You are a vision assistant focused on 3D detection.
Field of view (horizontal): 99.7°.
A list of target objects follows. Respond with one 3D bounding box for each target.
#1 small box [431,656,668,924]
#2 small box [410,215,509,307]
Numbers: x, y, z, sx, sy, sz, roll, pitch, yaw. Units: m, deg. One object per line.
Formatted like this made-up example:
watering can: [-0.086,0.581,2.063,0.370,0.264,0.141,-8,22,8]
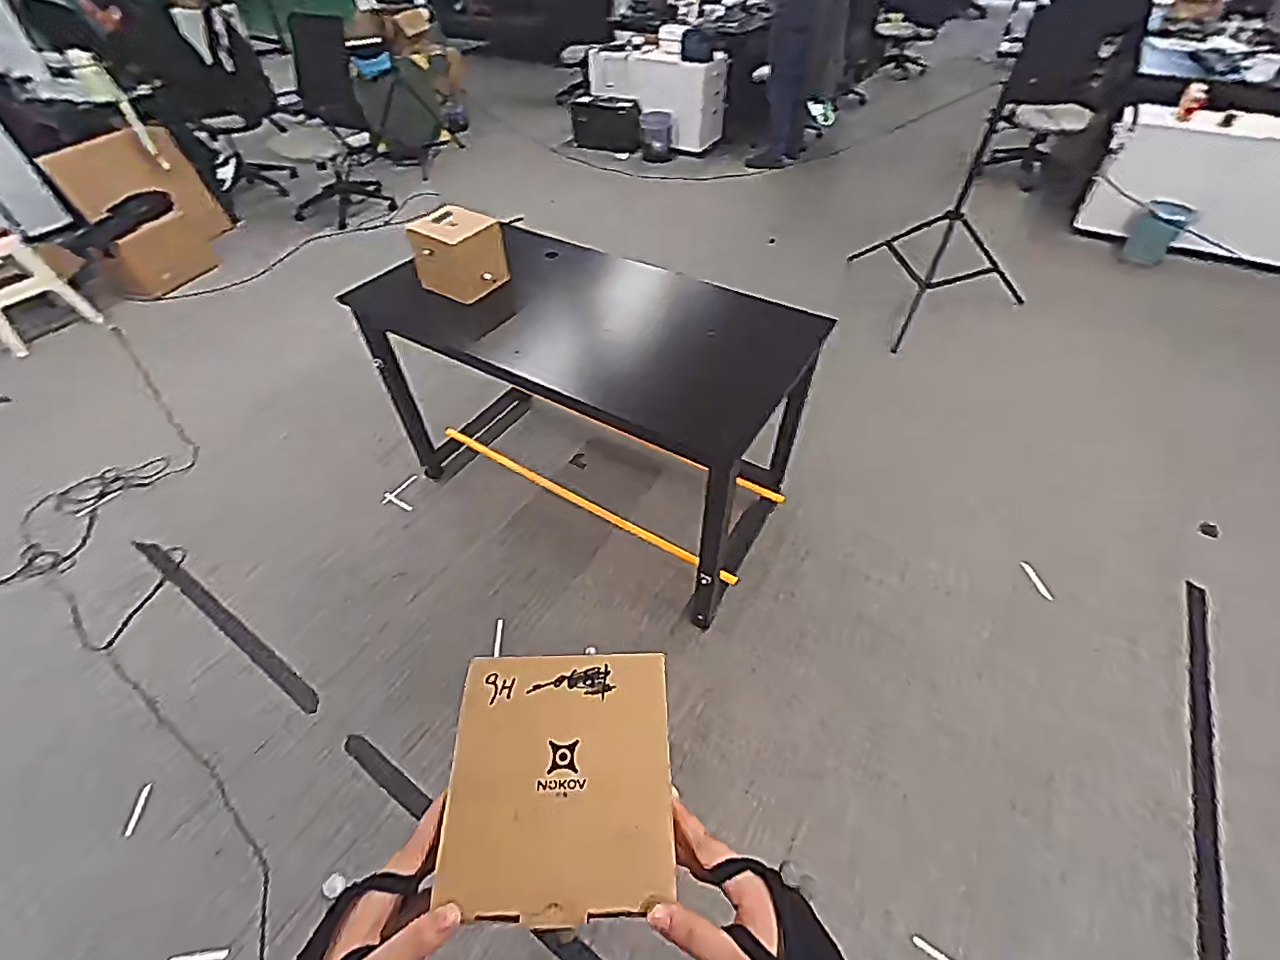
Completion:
small box: [-0.062,0.270,0.477,0.168,0.176,0.179,-2,53,-2]
small box: [-0.485,-0.596,1.477,0.179,0.176,0.168,25,53,21]
